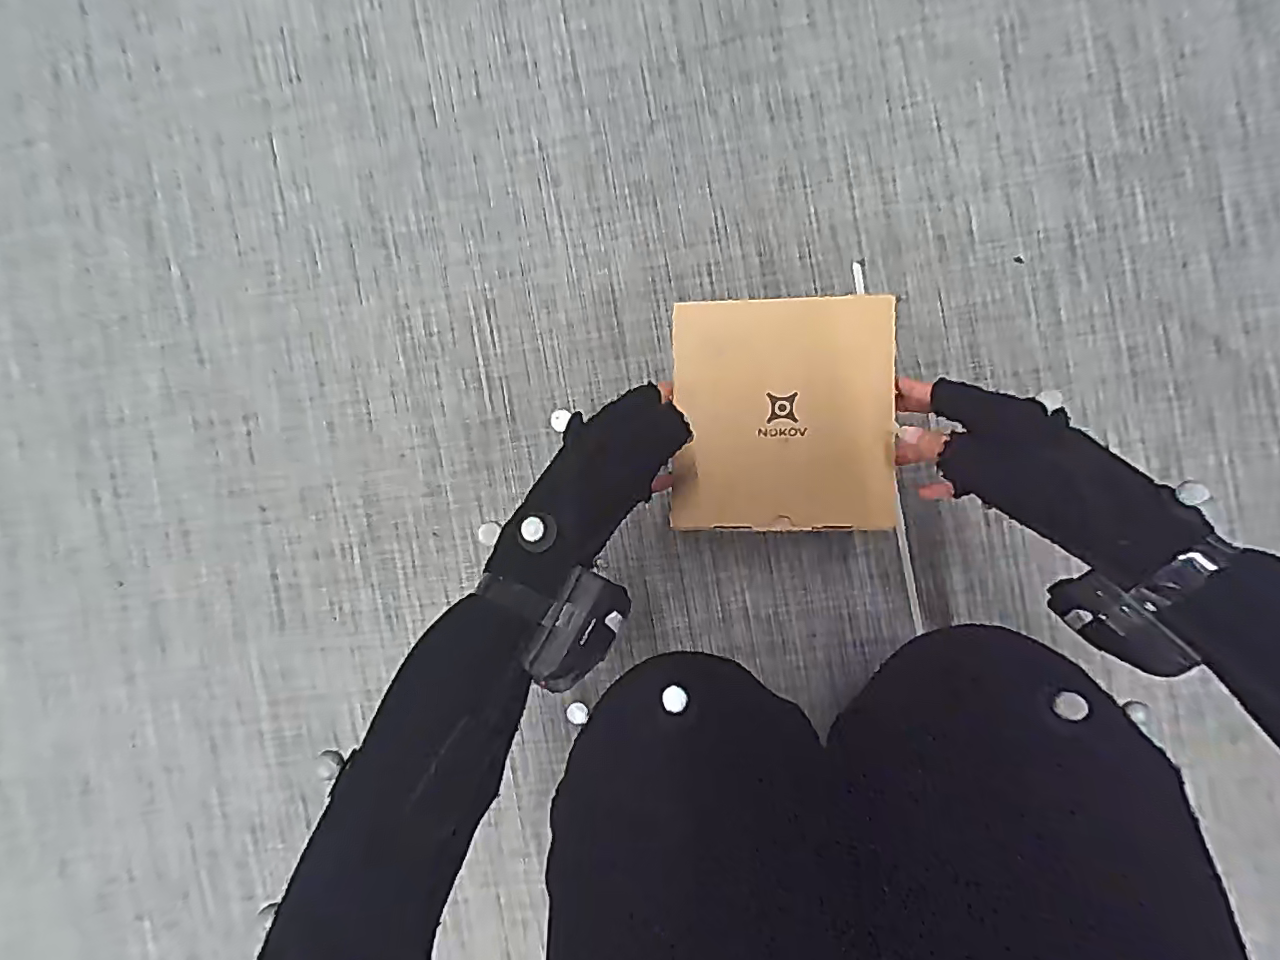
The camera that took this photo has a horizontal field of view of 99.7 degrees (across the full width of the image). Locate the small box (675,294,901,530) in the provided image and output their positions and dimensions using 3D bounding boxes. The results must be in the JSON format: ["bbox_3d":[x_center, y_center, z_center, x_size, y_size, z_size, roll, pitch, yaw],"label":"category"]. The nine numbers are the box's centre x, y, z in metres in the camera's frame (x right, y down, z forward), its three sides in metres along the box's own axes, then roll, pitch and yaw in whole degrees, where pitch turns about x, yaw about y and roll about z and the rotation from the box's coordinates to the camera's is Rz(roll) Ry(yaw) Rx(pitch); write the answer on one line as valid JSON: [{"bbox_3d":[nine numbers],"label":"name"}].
[{"bbox_3d":[0.115,-0.051,0.482,0.168,0.176,0.179,0,91,5],"label":"small box"}]
